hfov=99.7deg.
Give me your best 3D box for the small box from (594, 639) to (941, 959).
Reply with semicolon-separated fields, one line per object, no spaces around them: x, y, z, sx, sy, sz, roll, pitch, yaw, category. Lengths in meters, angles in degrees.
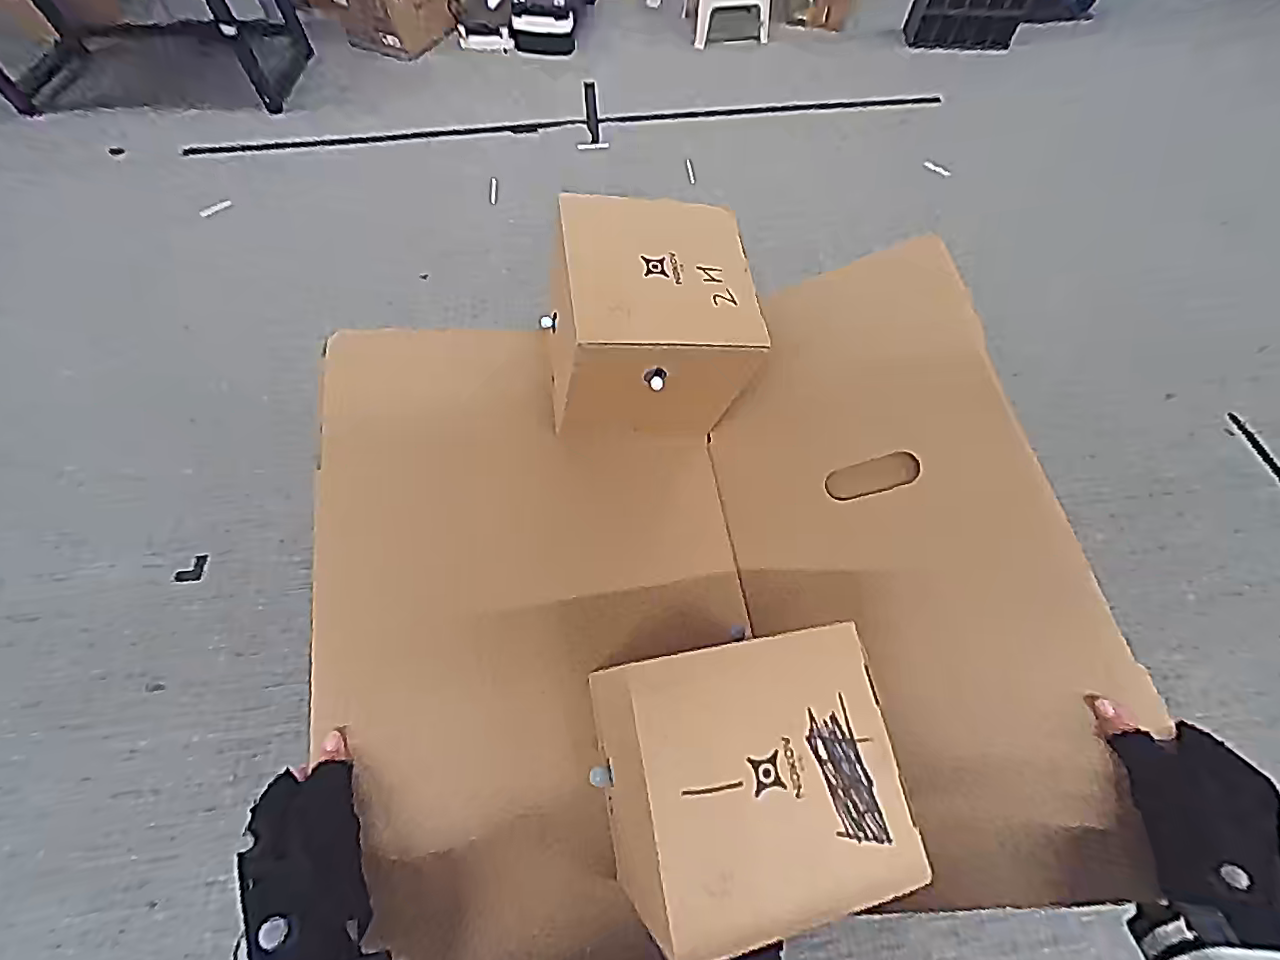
0.072;0.222;0.407;0.179;0.176;0.168;-6;70;-15;small box
